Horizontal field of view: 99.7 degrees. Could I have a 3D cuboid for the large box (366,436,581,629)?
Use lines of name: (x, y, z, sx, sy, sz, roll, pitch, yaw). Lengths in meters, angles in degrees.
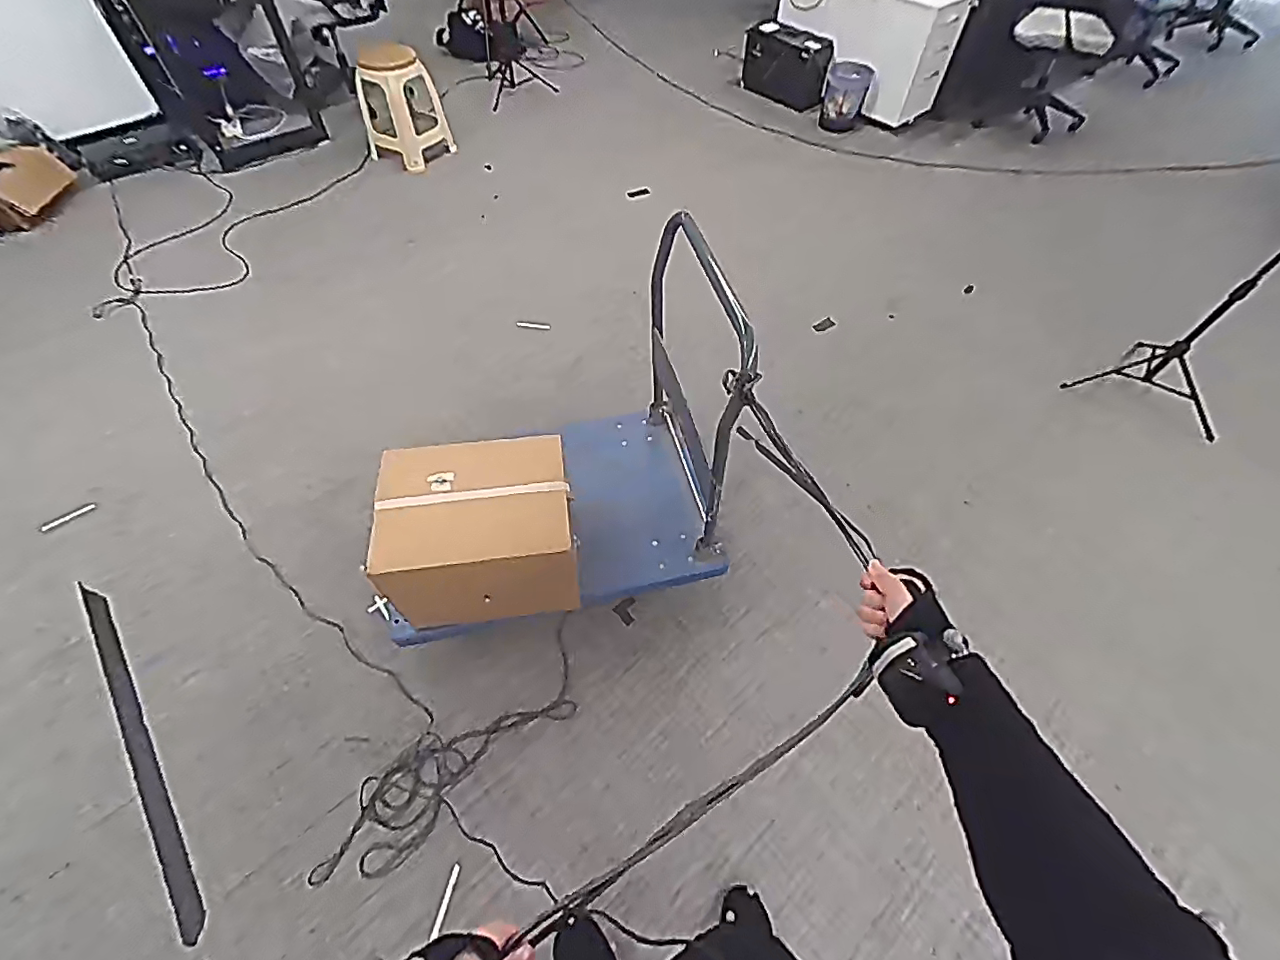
large box: (-0.364, 0.130, 1.274, 0.408, 0.320, 0.320, -7, 55, -6)
